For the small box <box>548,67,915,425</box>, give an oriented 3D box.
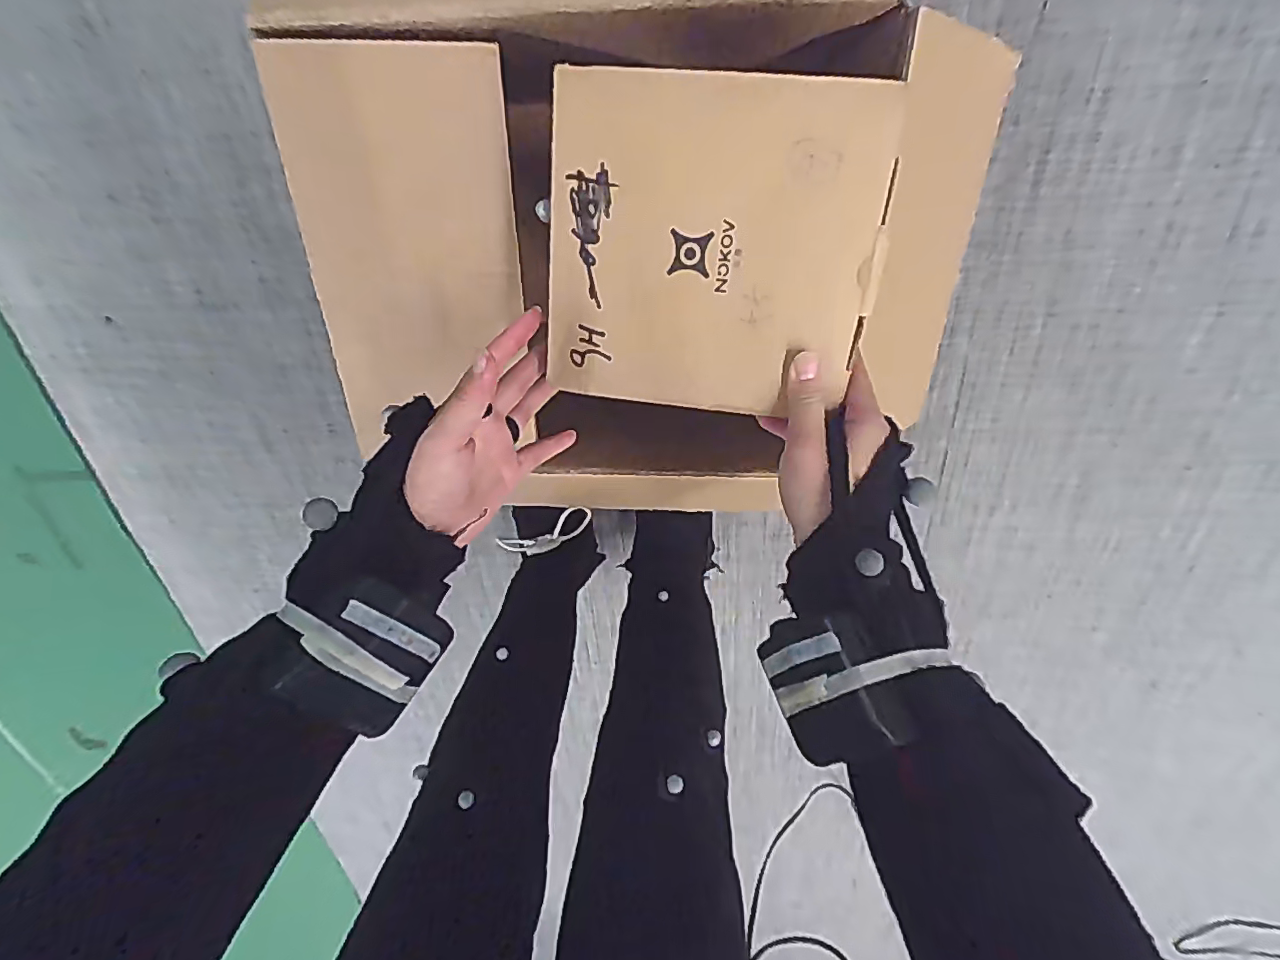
[{"bbox_3d":[0.048,-0.147,0.363,0.179,0.176,0.168,8,112,6],"label":"small box"}]
